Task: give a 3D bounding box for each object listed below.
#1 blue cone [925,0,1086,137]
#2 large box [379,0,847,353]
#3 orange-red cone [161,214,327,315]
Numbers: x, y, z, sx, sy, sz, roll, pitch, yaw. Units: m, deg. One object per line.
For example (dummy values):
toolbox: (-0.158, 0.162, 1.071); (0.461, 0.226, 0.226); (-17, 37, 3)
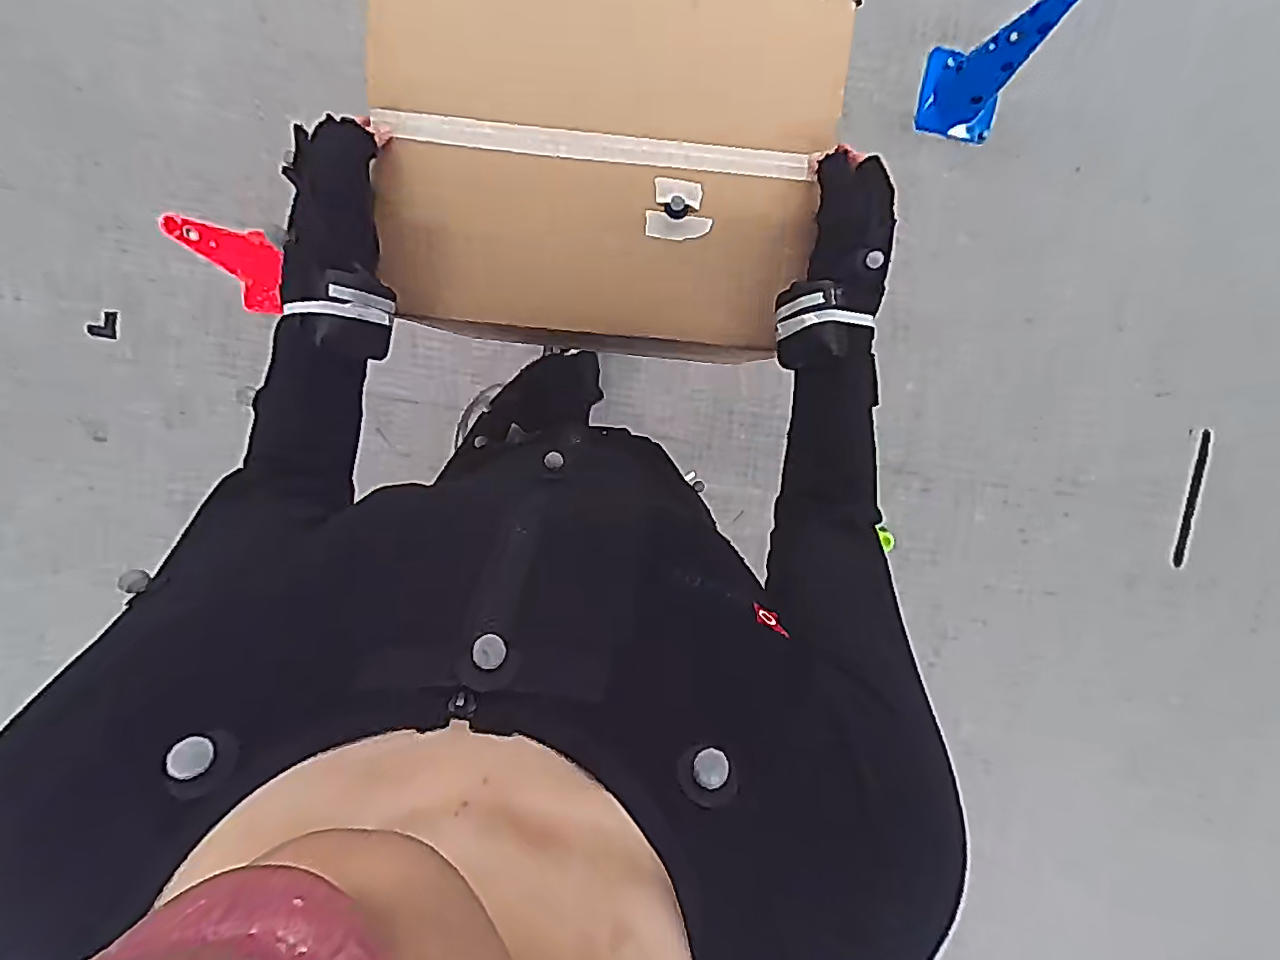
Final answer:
blue cone: (0.839, -0.971, 1.220); (0.192, 0.380, 0.193); (12, 96, -4)
large box: (-0.035, -0.327, 0.624); (0.408, 0.320, 0.320); (5, 100, -3)
orange-red cone: (-0.888, -0.504, 1.195); (0.198, 0.360, 0.199); (6, 98, -2)
